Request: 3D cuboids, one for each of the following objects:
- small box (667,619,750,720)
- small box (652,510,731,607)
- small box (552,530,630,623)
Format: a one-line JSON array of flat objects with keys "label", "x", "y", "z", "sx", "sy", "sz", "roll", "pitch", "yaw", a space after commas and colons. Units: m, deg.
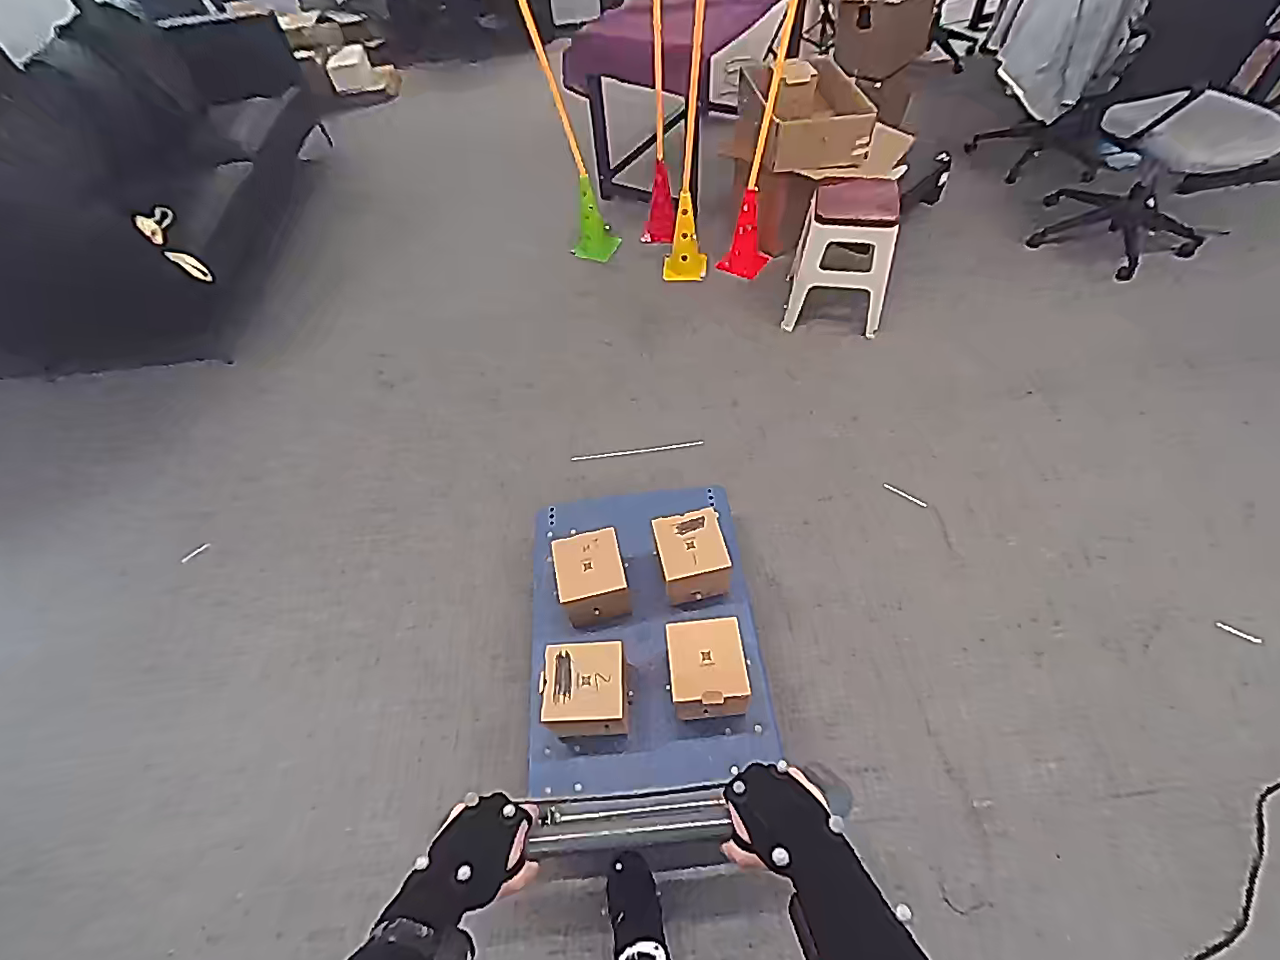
[{"label": "small box", "x": 0.151, "y": 0.440, "z": 1.250, "sx": 0.168, "sy": 0.176, "sz": 0.179, "roll": -6, "pitch": 55, "yaw": 1}, {"label": "small box", "x": 0.131, "y": 0.207, "z": 1.414, "sx": 0.168, "sy": 0.176, "sz": 0.179, "roll": -12, "pitch": 56, "yaw": -3}, {"label": "small box", "x": -0.124, "y": 0.257, "z": 1.402, "sx": 0.168, "sy": 0.176, "sz": 0.179, "roll": -12, "pitch": 55, "yaw": -4}]
